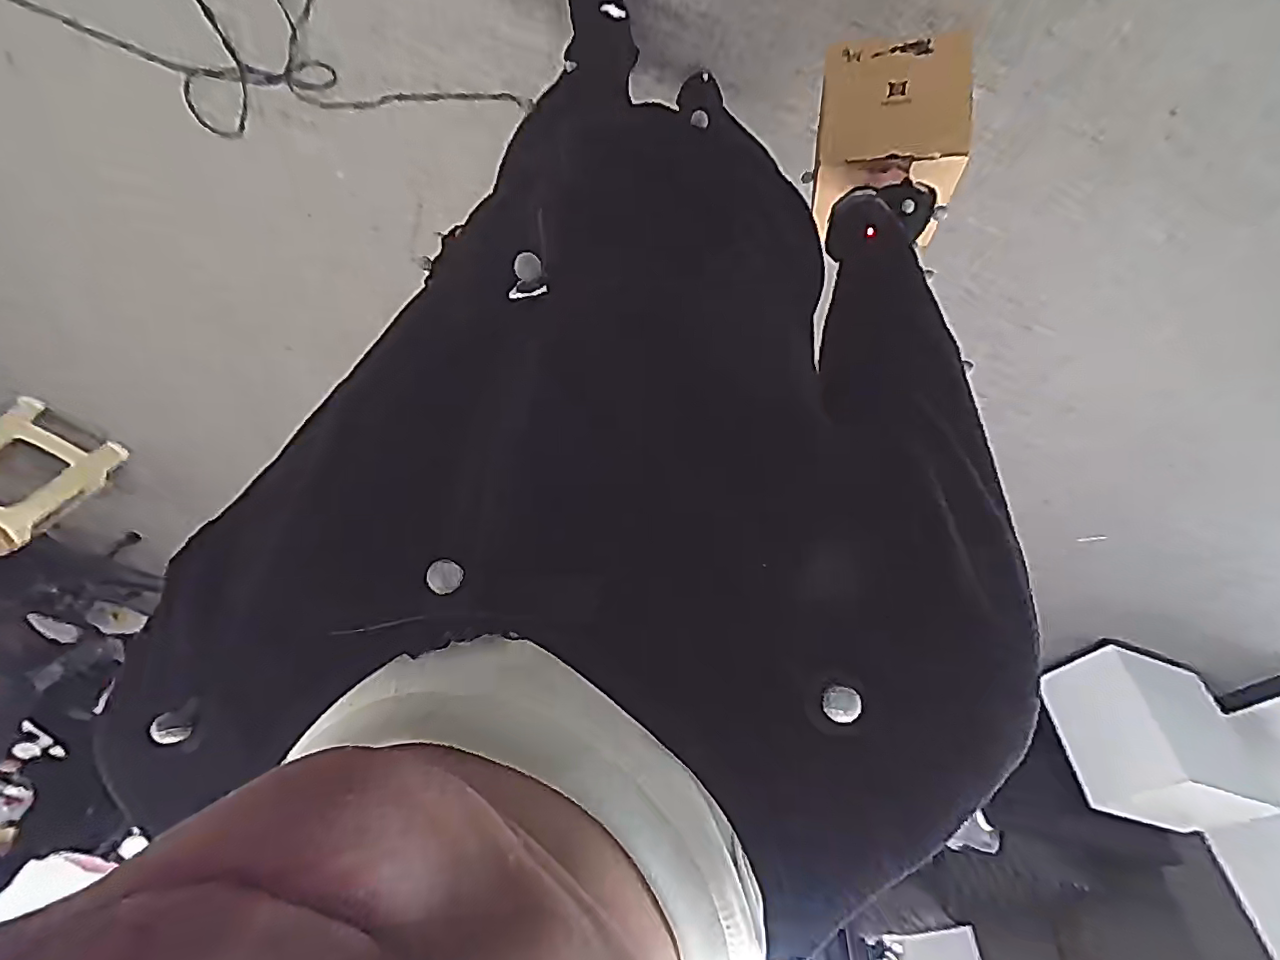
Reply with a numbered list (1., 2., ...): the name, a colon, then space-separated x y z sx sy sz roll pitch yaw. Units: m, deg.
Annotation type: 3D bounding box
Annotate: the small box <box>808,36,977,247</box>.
1. small box: 0.322 -0.434 0.719 0.168 0.179 0.176 7 170 13
